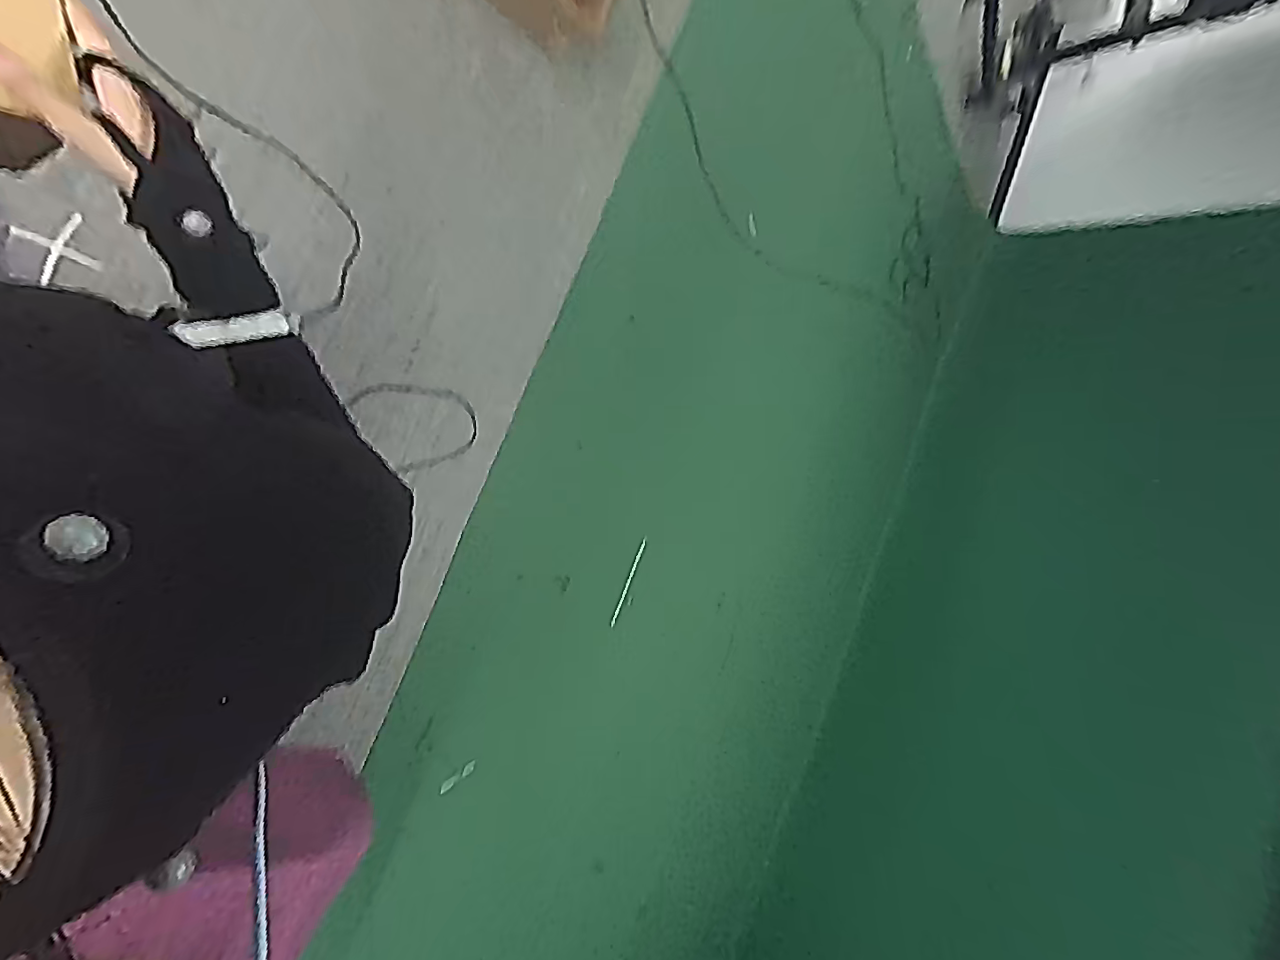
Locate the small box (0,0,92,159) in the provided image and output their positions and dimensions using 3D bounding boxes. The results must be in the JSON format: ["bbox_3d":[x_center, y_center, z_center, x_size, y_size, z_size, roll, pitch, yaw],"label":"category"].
[{"bbox_3d":[-0.463,-0.297,0.298,0.179,0.176,0.168,-20,114,-55],"label":"small box"}]
